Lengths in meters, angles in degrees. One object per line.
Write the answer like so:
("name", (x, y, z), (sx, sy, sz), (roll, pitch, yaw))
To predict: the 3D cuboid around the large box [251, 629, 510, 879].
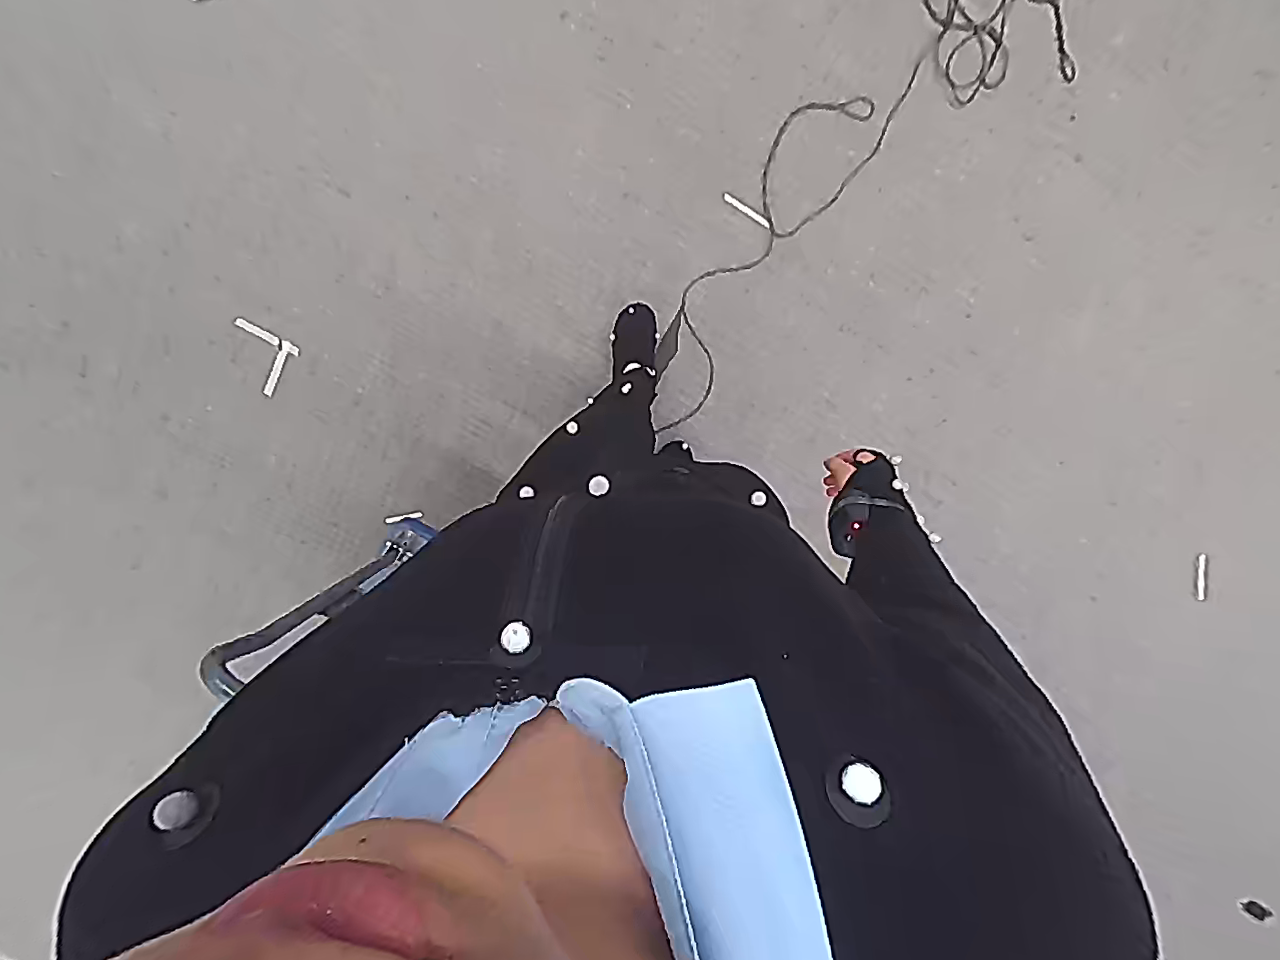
("large box", (-0.588, 0.631, 1.296), (0.408, 0.320, 0.320), (32, 100, -7))
